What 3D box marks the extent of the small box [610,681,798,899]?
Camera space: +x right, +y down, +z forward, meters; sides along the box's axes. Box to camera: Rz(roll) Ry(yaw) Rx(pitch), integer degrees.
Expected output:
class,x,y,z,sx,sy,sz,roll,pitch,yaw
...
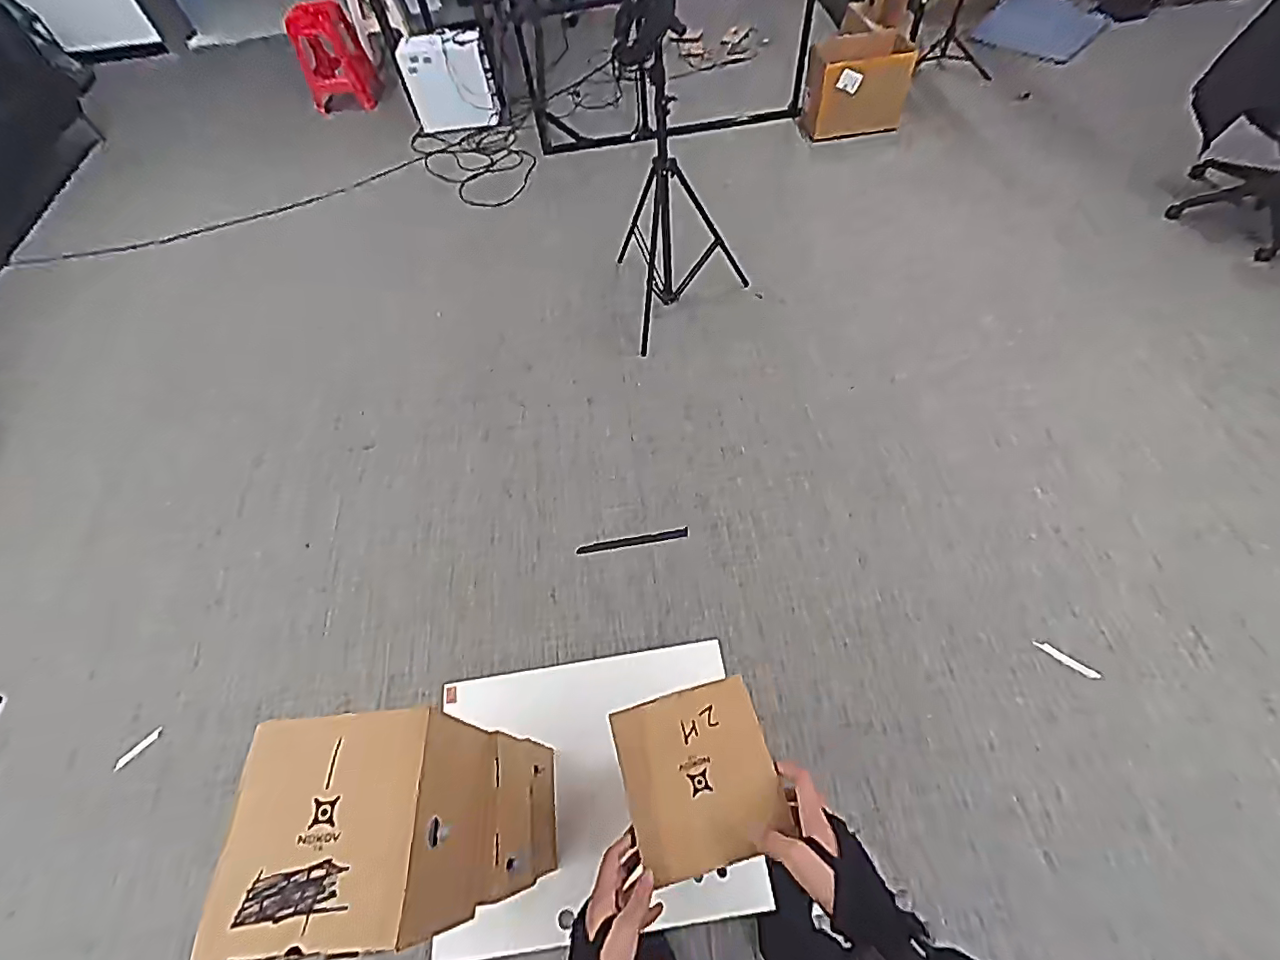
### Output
class,x,y,z,sx,sy,sz,roll,pitch,yaw
small box,0.073,0.367,0.656,0.168,0.176,0.179,-16,58,-3

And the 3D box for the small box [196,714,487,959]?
class,x,y,z,sx,sy,sz,roll,pitch,yaw
small box,-0.256,0.336,0.518,0.168,0.176,0.179,-6,57,2

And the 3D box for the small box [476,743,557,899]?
class,x,y,z,sx,sy,sz,roll,pitch,yaw
small box,-0.221,0.502,0.800,0.168,0.176,0.179,-8,58,0
